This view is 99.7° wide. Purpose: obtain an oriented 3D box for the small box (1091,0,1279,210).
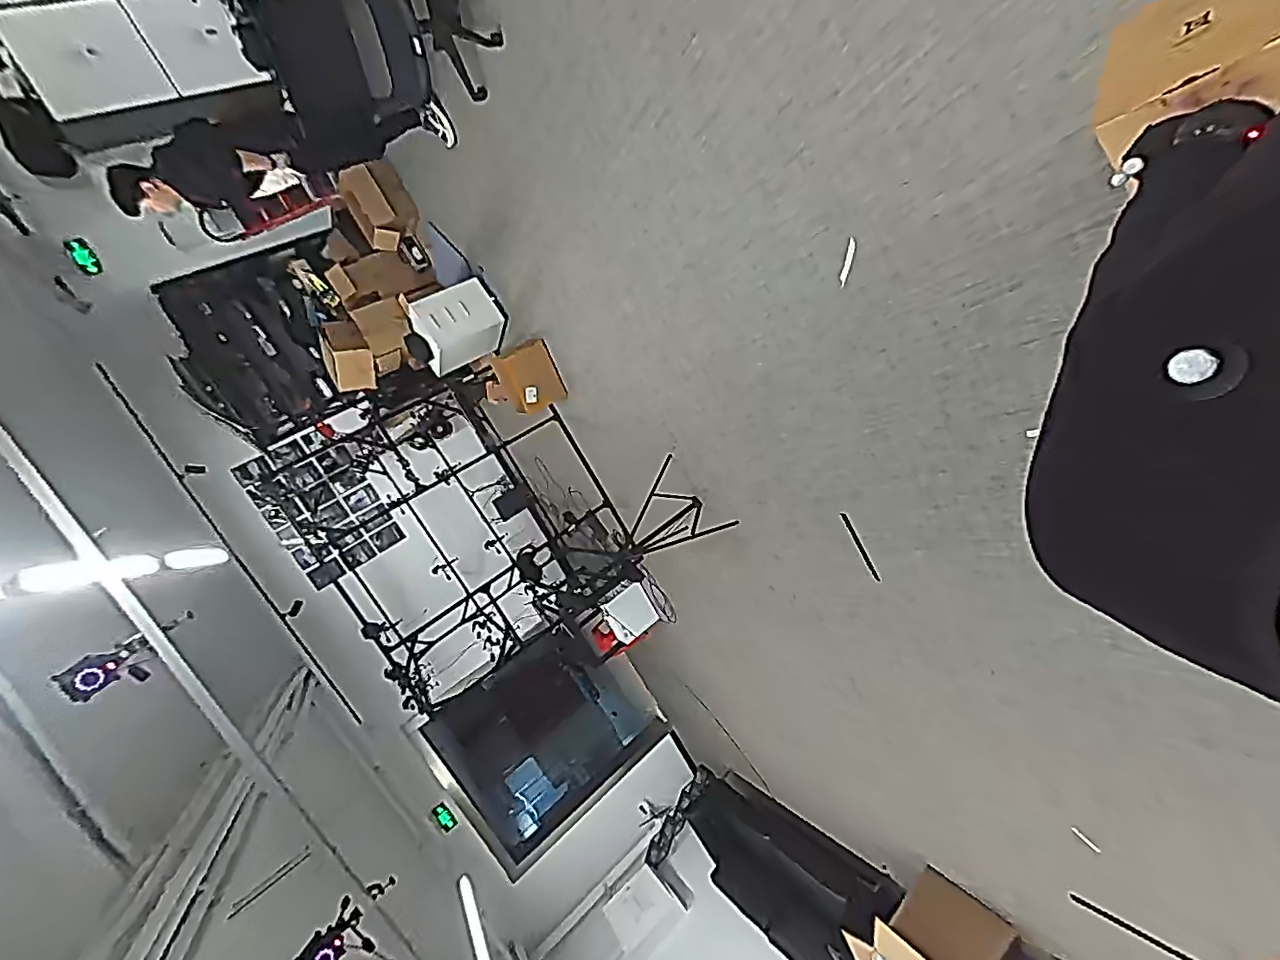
[{"bbox_3d":[0.664,-0.448,0.621,0.176,0.179,0.168,30,164,-26],"label":"small box"}]
